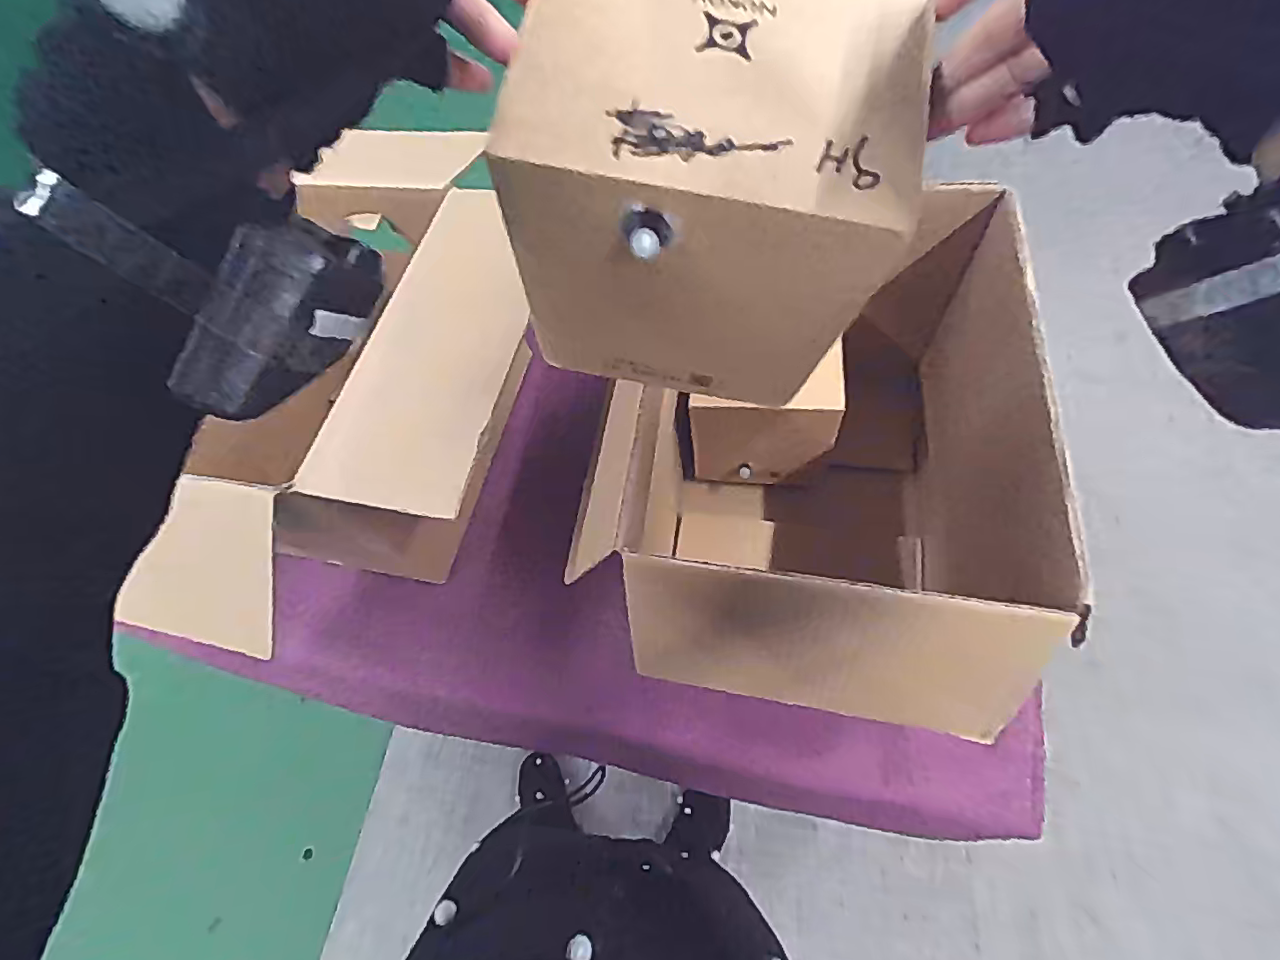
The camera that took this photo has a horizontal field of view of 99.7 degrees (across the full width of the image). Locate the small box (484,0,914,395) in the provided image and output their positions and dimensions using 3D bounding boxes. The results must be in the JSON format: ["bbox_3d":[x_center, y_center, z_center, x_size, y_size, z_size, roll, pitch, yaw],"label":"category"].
[{"bbox_3d":[0.031,-0.173,0.309,0.168,0.176,0.179,11,74,2],"label":"small box"}]
